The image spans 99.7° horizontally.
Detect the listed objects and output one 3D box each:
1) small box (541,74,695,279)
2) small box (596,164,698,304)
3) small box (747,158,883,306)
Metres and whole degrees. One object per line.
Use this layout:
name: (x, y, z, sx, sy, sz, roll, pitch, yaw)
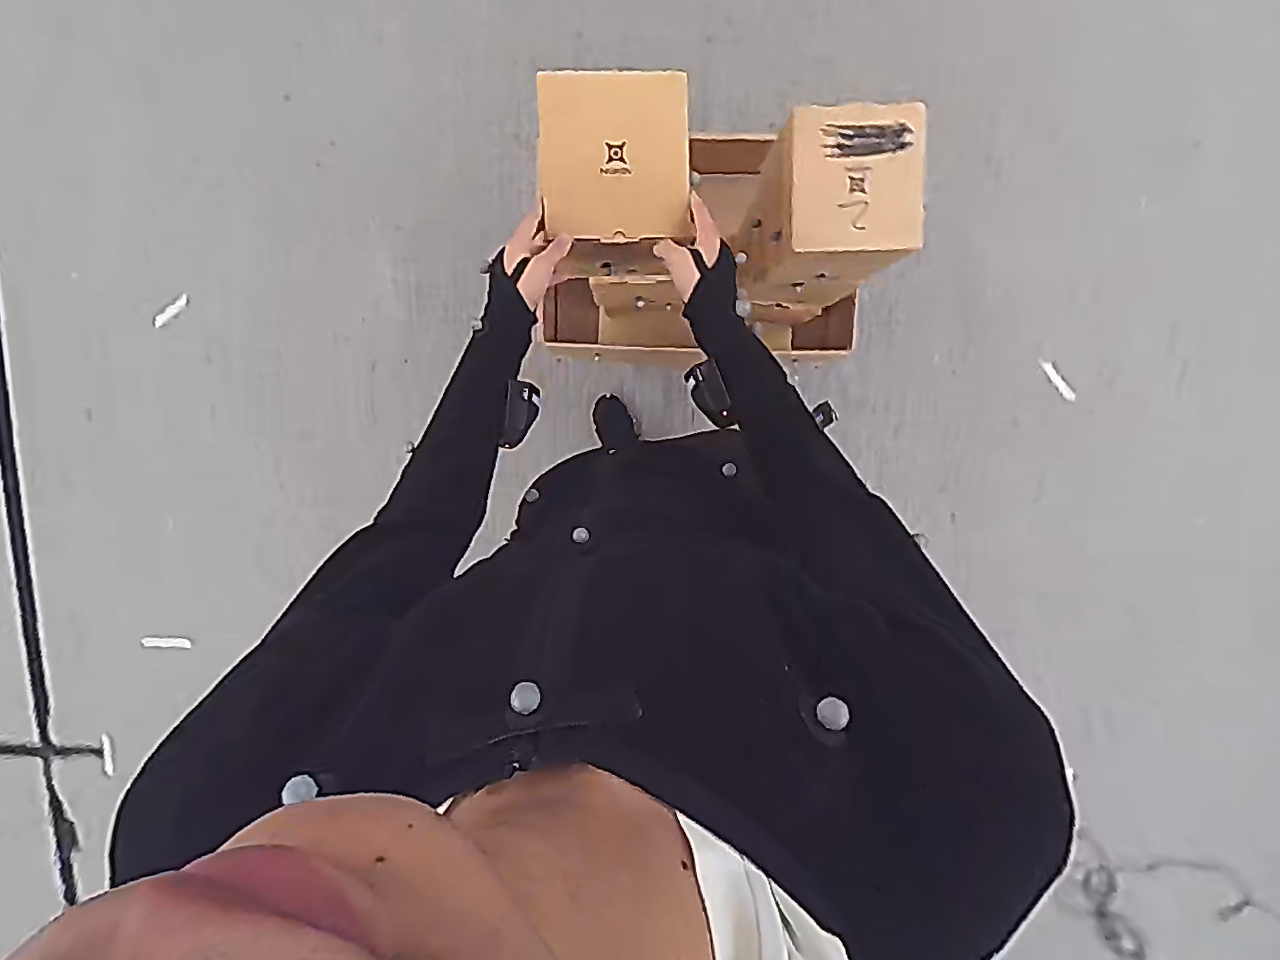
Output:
small box: (-0.030, -0.362, 0.673, 0.168, 0.176, 0.179, -4, 99, -4)
small box: (0.006, -0.407, 0.917, 0.168, 0.176, 0.179, -3, 98, 0)
small box: (0.284, -0.408, 0.914, 0.168, 0.176, 0.179, 5, 97, -1)
